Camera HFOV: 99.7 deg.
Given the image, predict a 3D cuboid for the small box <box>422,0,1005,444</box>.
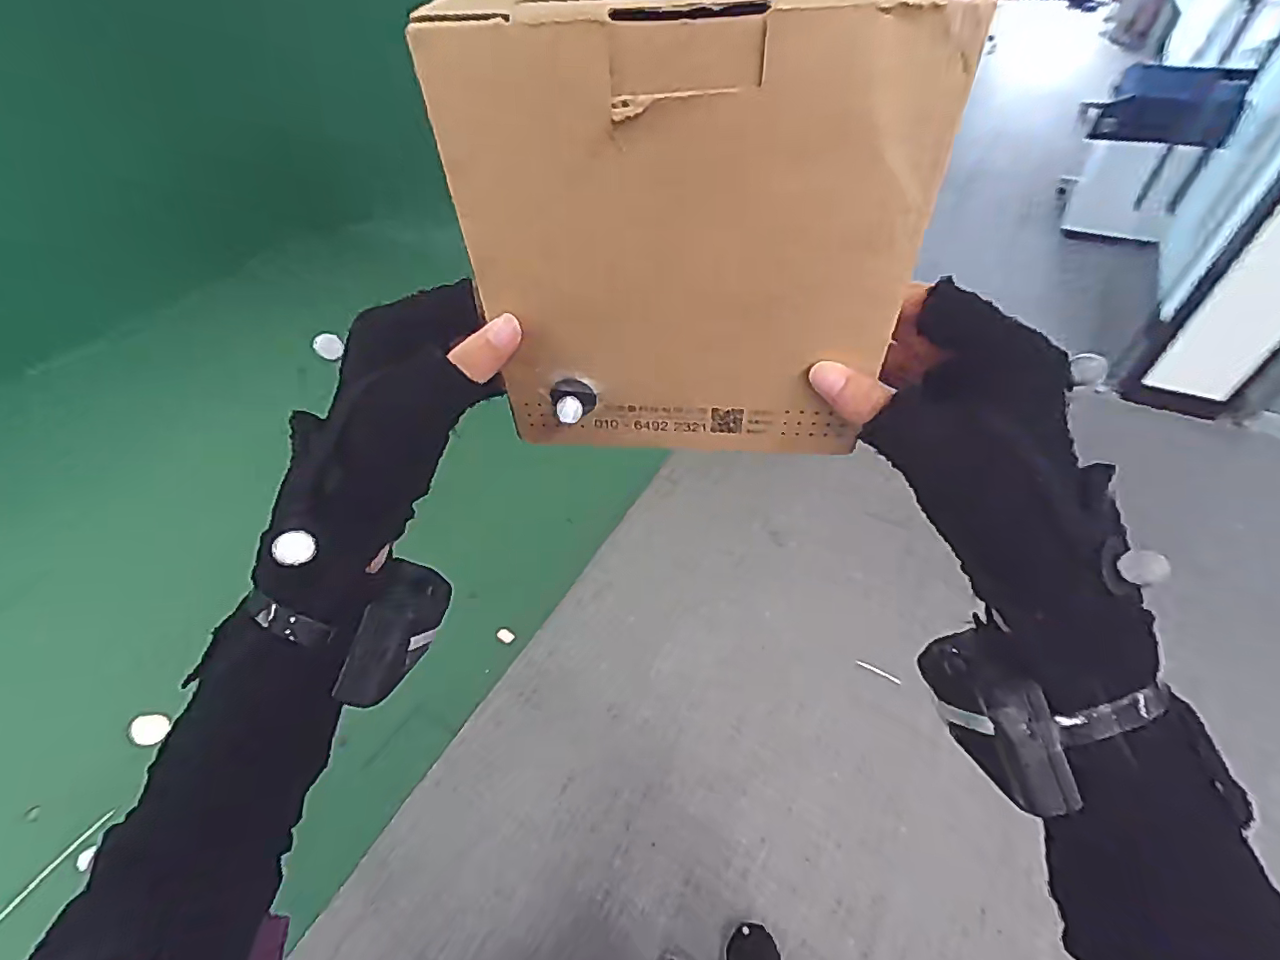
[{"bbox_3d":[0.030,-0.133,0.261,0.168,0.176,0.179,3,47,7],"label":"small box"}]
